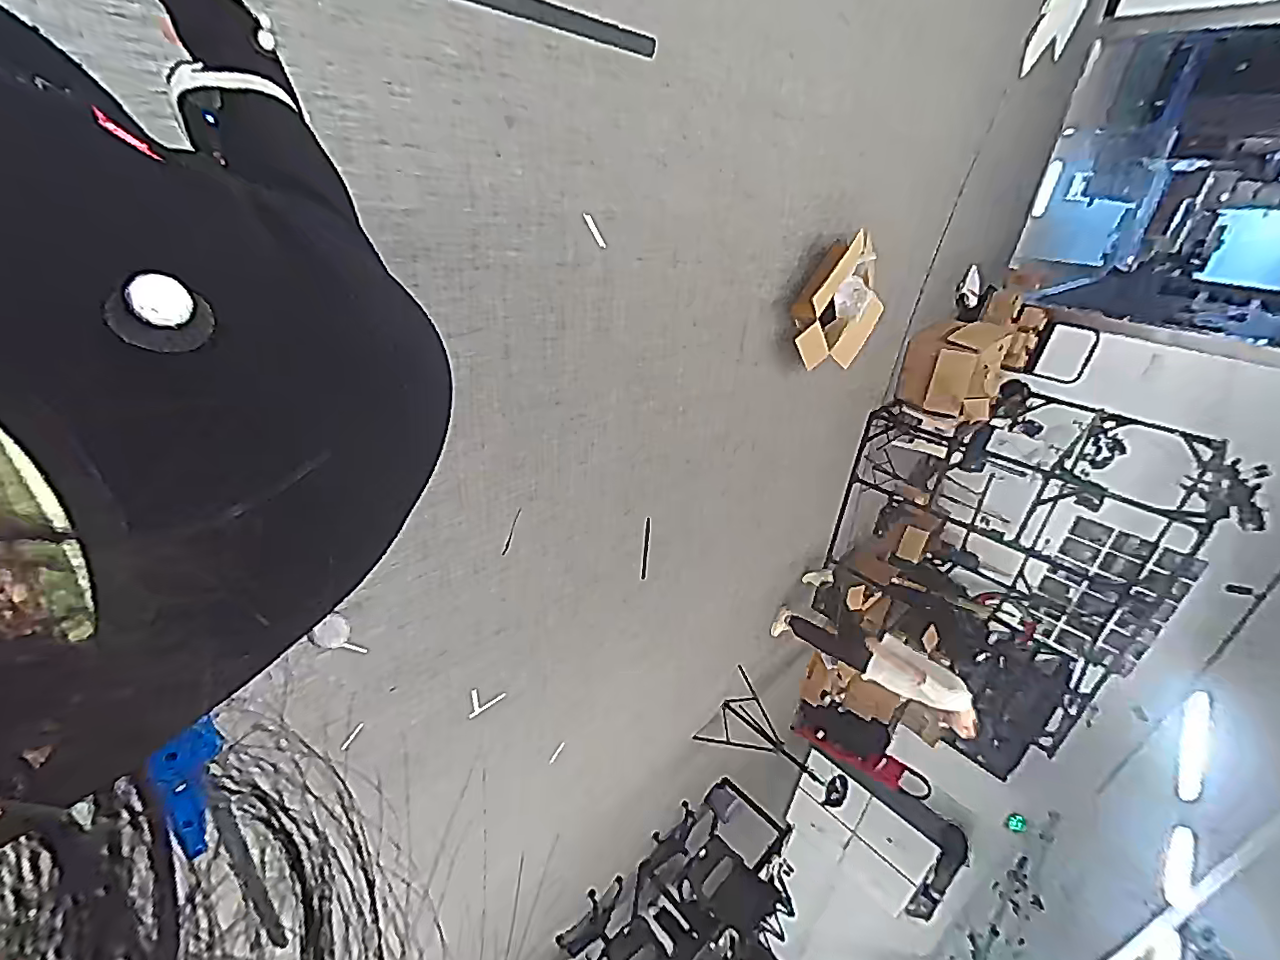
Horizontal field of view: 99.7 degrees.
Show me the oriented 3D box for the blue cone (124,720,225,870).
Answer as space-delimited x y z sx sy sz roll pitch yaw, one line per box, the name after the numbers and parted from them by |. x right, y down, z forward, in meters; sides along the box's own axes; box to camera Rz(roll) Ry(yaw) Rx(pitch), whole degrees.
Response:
-1.147 0.828 1.376 0.193 0.380 0.192 -19 127 -41 | blue cone
